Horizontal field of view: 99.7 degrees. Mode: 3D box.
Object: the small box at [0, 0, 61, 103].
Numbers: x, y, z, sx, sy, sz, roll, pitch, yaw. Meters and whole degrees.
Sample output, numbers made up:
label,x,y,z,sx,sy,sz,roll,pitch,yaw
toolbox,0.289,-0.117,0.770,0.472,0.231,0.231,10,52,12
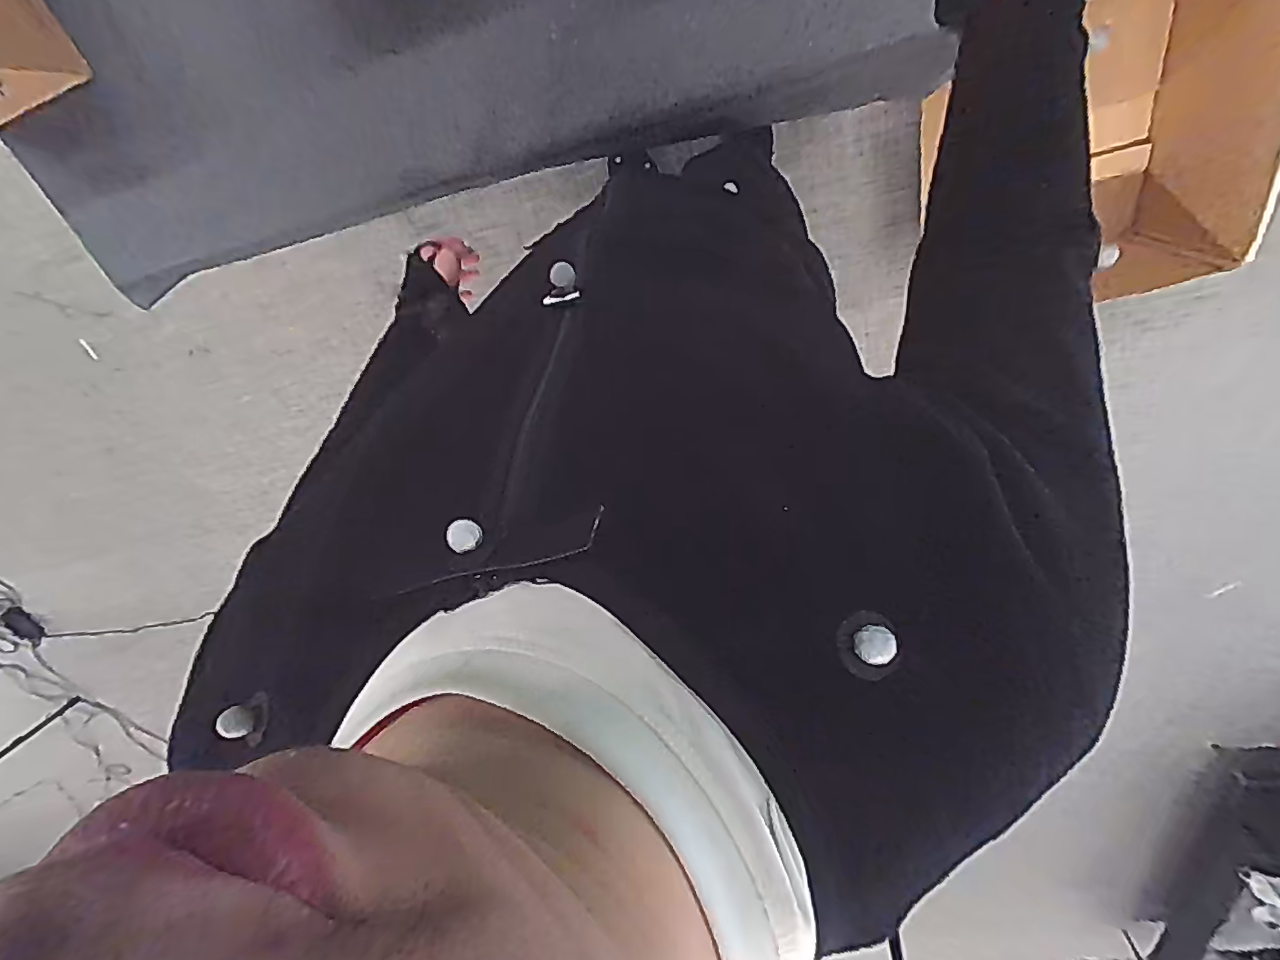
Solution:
label,x,y,z,sx,sy,sz,roll,pitch,yaw
small box,-0.753,-0.484,0.531,0.179,0.176,0.168,-12,121,14
